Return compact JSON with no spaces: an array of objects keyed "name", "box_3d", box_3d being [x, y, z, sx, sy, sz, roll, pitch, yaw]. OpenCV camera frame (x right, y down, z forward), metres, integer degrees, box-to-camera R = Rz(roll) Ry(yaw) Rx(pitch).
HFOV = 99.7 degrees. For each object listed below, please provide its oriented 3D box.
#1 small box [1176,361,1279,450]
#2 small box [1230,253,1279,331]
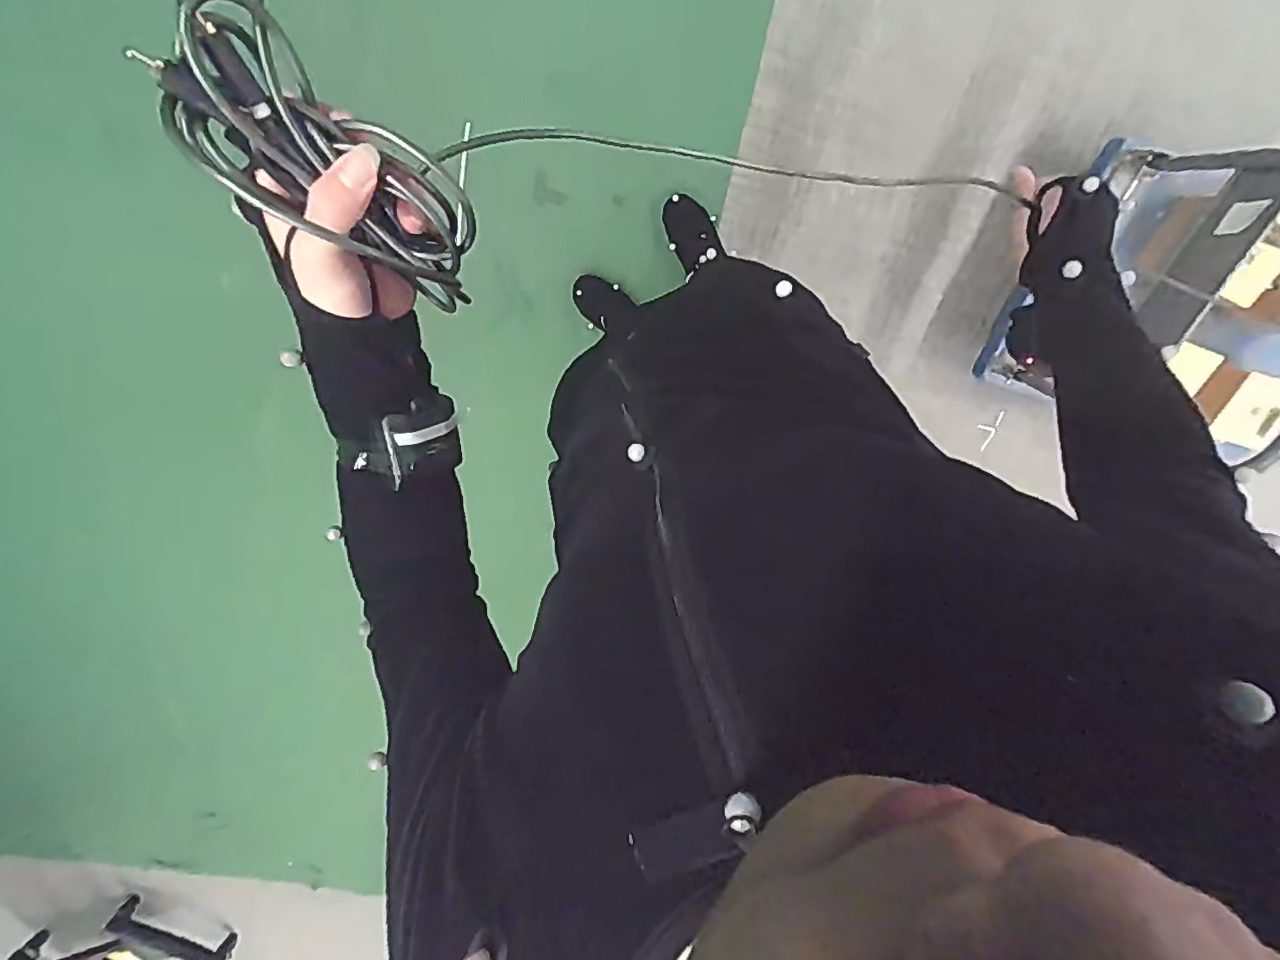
[{"name":"small box","box_3d":[1.478,-0.198,1.345,0.179,0.176,0.168,13,116,-6]},{"name":"small box","box_3d":[1.539,-0.420,1.231,0.179,0.176,0.168,11,117,-6]}]
